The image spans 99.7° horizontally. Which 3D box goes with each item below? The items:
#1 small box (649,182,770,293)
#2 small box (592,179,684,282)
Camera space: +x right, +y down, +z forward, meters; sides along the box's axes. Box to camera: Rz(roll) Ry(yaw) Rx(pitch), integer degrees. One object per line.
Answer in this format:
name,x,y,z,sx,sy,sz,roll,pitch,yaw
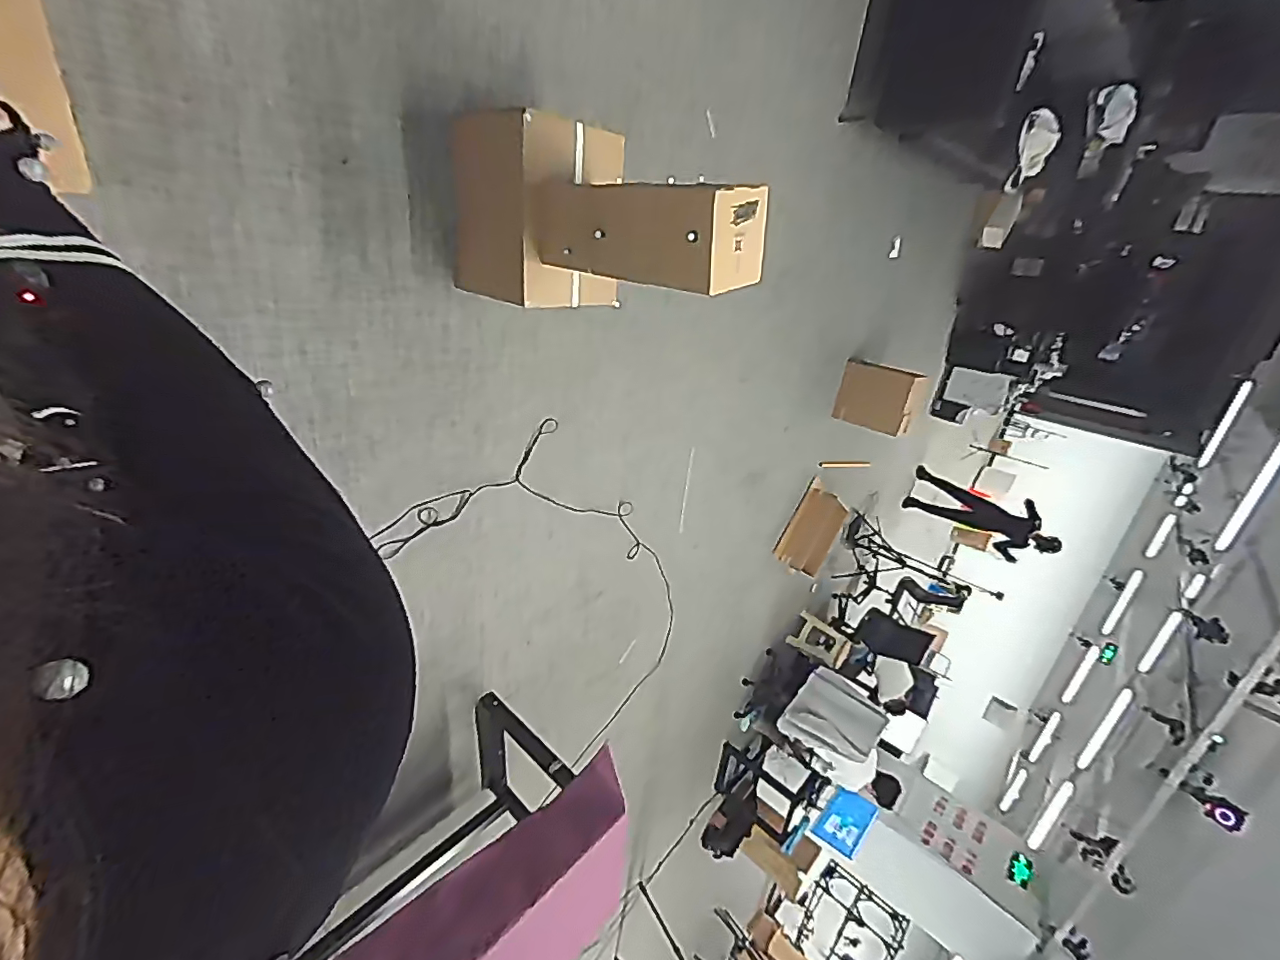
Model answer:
small box,0.129,-0.478,1.050,0.168,0.176,0.179,-28,131,-36
small box,0.012,-0.536,1.151,0.168,0.176,0.179,-28,132,-37
